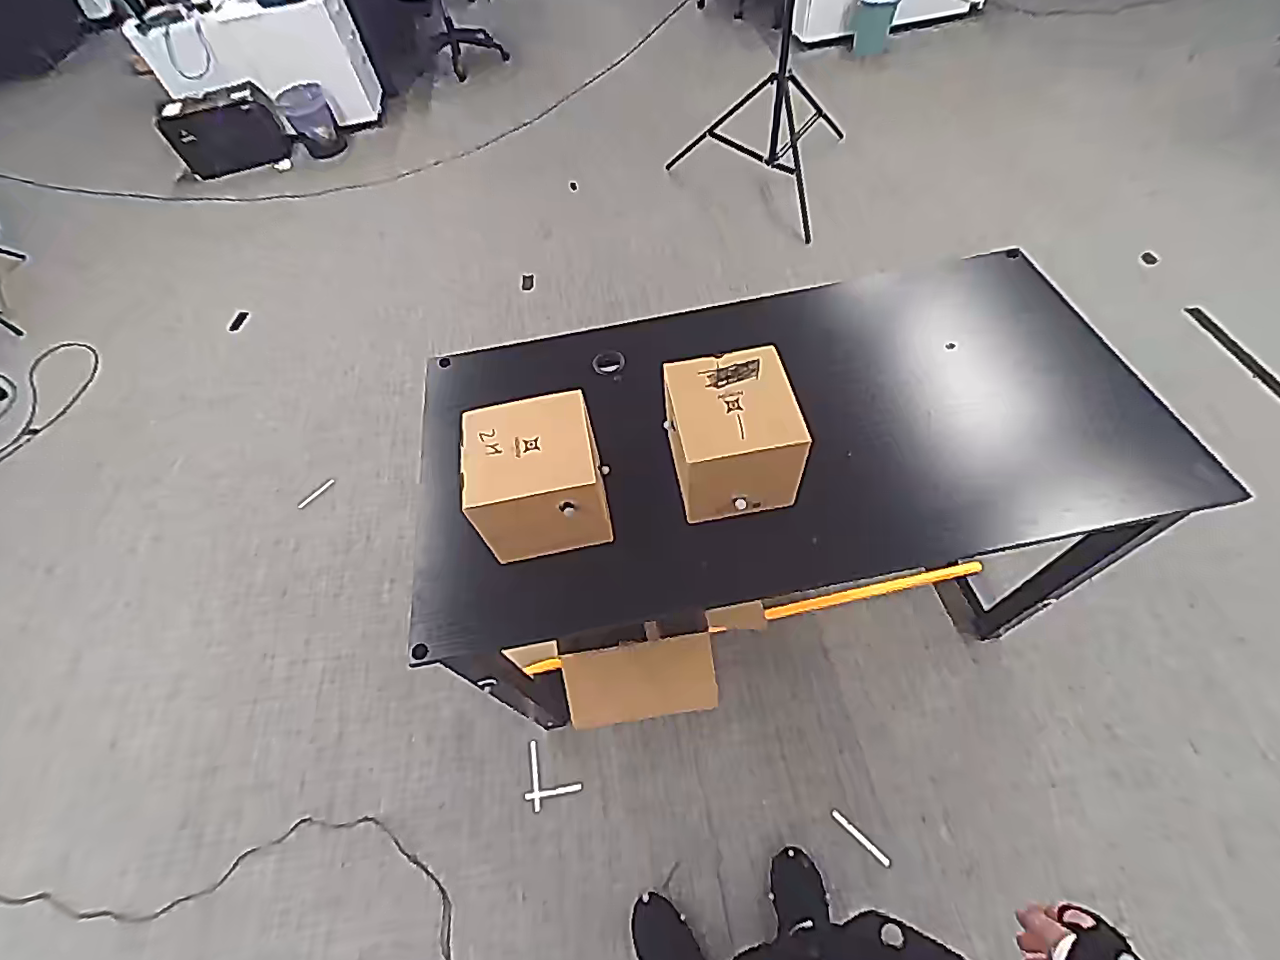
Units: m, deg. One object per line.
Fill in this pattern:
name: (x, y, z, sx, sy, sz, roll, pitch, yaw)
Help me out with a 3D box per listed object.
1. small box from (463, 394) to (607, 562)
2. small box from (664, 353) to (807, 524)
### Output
small box: (-0.147, 0.002, 0.799, 0.179, 0.176, 0.168, -11, 56, -2)
small box: (0.131, -0.058, 0.809, 0.168, 0.176, 0.179, -10, 57, 0)
